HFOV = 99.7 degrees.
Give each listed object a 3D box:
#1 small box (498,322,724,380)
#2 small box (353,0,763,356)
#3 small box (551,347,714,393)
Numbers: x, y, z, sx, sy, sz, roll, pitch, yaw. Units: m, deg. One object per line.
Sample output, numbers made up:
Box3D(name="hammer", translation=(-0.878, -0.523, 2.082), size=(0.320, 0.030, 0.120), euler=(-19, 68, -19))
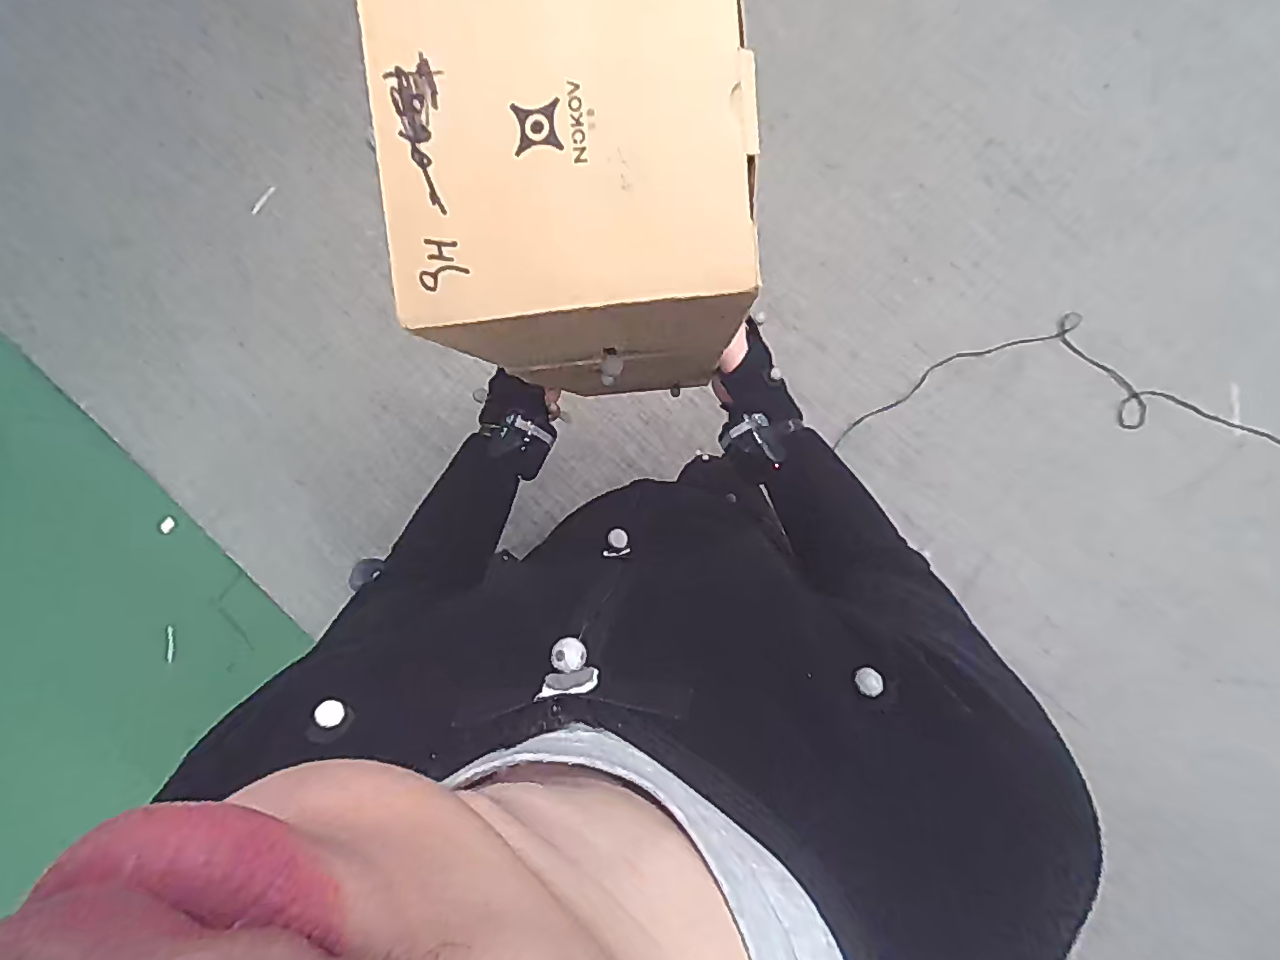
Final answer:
Box3D(name="small box", translation=(-0.023, -0.184, 0.480), size=(0.179, 0.176, 0.168), euler=(-4, 95, 4))
Box3D(name="small box", translation=(-0.032, -0.171, 0.318), size=(0.179, 0.176, 0.168), euler=(-4, 95, 4))
Box3D(name="small box", translation=(-0.008, -0.197, 0.643), size=(0.179, 0.176, 0.168), euler=(-4, 94, 6))
